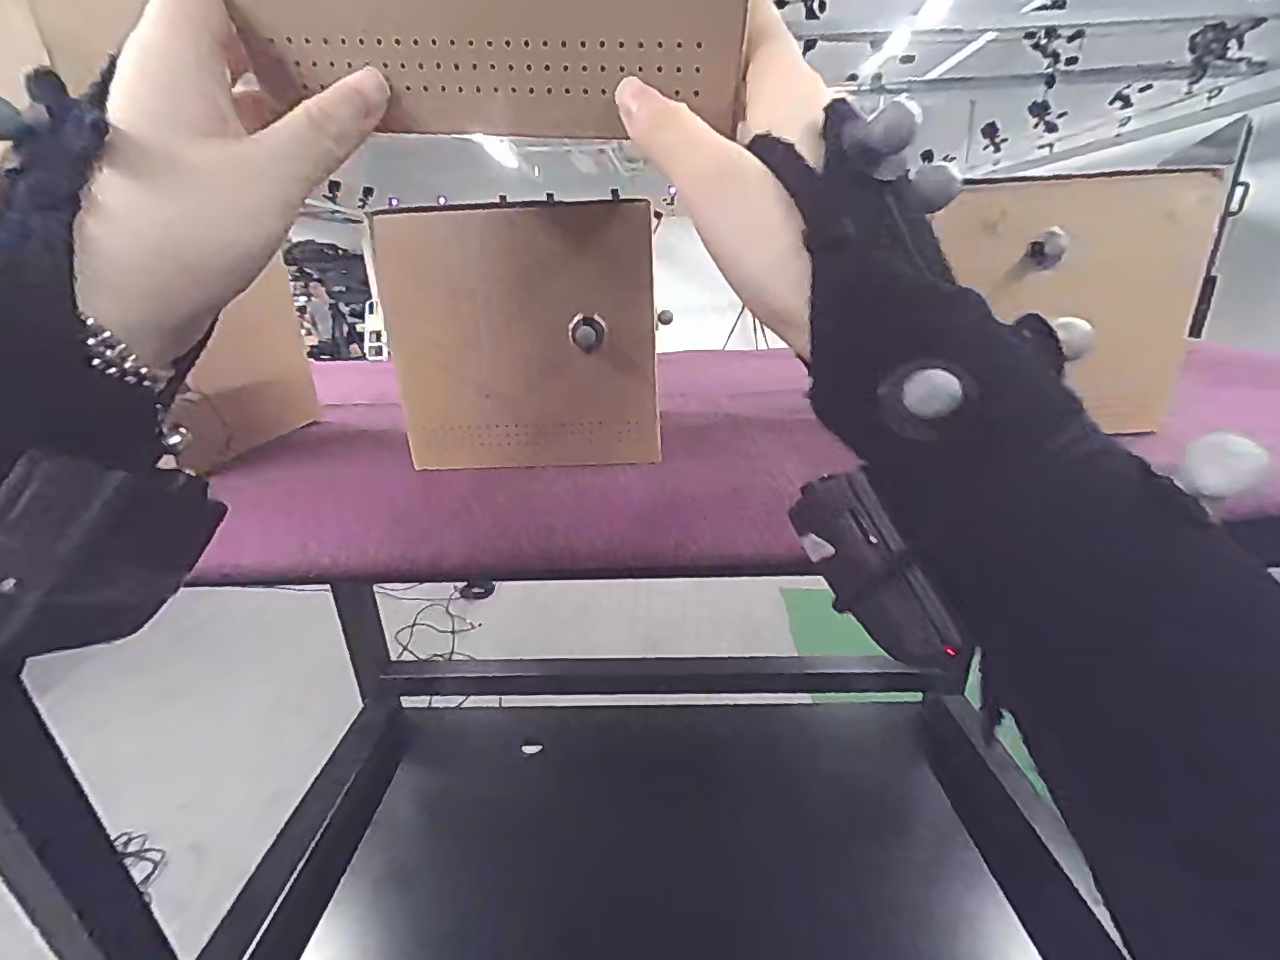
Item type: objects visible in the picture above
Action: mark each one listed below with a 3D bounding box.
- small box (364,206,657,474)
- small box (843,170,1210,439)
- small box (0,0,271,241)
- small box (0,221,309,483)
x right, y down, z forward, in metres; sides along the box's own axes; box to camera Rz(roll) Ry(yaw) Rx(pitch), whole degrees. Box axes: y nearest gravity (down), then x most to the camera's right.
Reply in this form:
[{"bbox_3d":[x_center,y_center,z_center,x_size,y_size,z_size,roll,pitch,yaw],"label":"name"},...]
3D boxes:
[{"bbox_3d":[-0.075,-0.110,0.424,0.179,0.176,0.168,-3,21,1],"label":"small box"},{"bbox_3d":[0.273,-0.131,0.434,0.179,0.176,0.168,-1,19,3],"label":"small box"},{"bbox_3d":[-0.400,-0.253,0.364,0.179,0.176,0.168,-1,22,0],"label":"small box"},{"bbox_3d":[-0.397,-0.102,0.424,0.168,0.176,0.179,-1,21,1],"label":"small box"}]
